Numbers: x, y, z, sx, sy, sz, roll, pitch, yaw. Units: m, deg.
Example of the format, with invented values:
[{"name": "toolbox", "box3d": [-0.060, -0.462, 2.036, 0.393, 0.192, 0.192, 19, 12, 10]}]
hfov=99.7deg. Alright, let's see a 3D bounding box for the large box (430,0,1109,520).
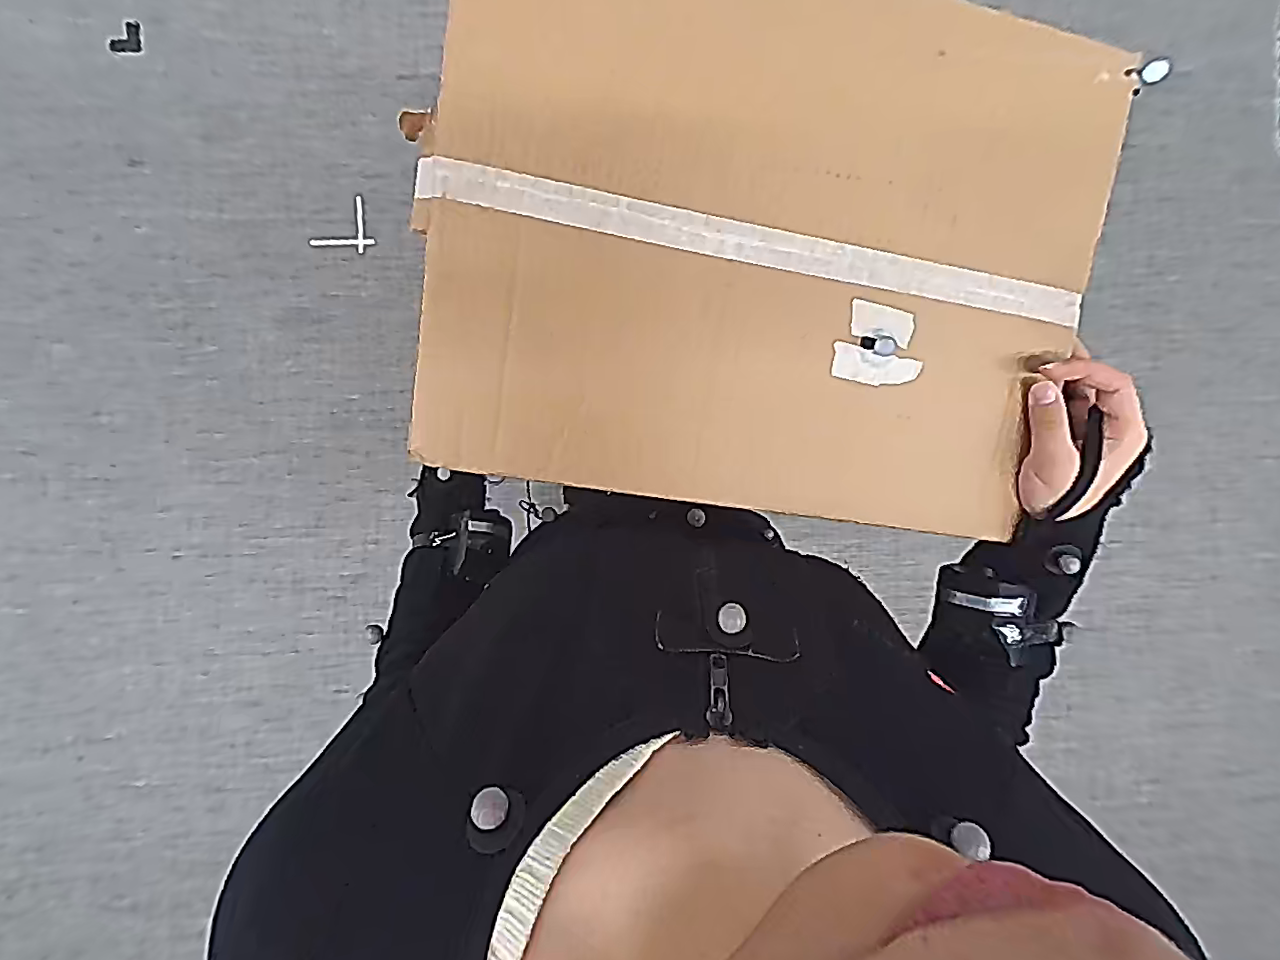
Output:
[{"name": "large box", "box3d": [0.064, -0.164, 0.476, 0.408, 0.320, 0.320, 7, 98, -11]}]
